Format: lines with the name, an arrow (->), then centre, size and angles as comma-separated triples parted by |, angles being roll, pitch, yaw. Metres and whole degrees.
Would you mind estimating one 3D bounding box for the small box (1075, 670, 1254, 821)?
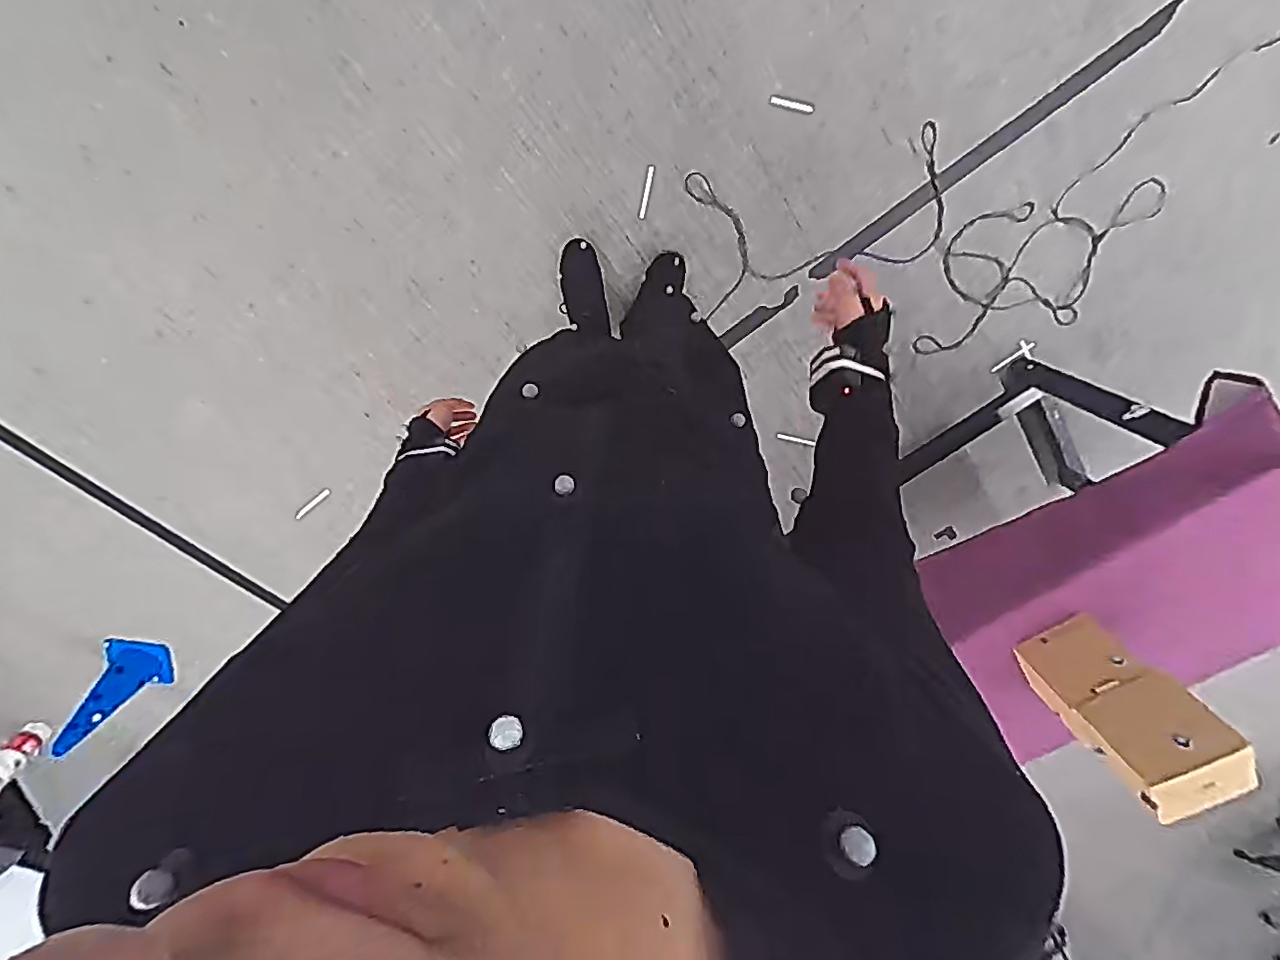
small box -> 0.989, 0.498, 1.028 | 0.179, 0.176, 0.168 | -33, 117, 12
